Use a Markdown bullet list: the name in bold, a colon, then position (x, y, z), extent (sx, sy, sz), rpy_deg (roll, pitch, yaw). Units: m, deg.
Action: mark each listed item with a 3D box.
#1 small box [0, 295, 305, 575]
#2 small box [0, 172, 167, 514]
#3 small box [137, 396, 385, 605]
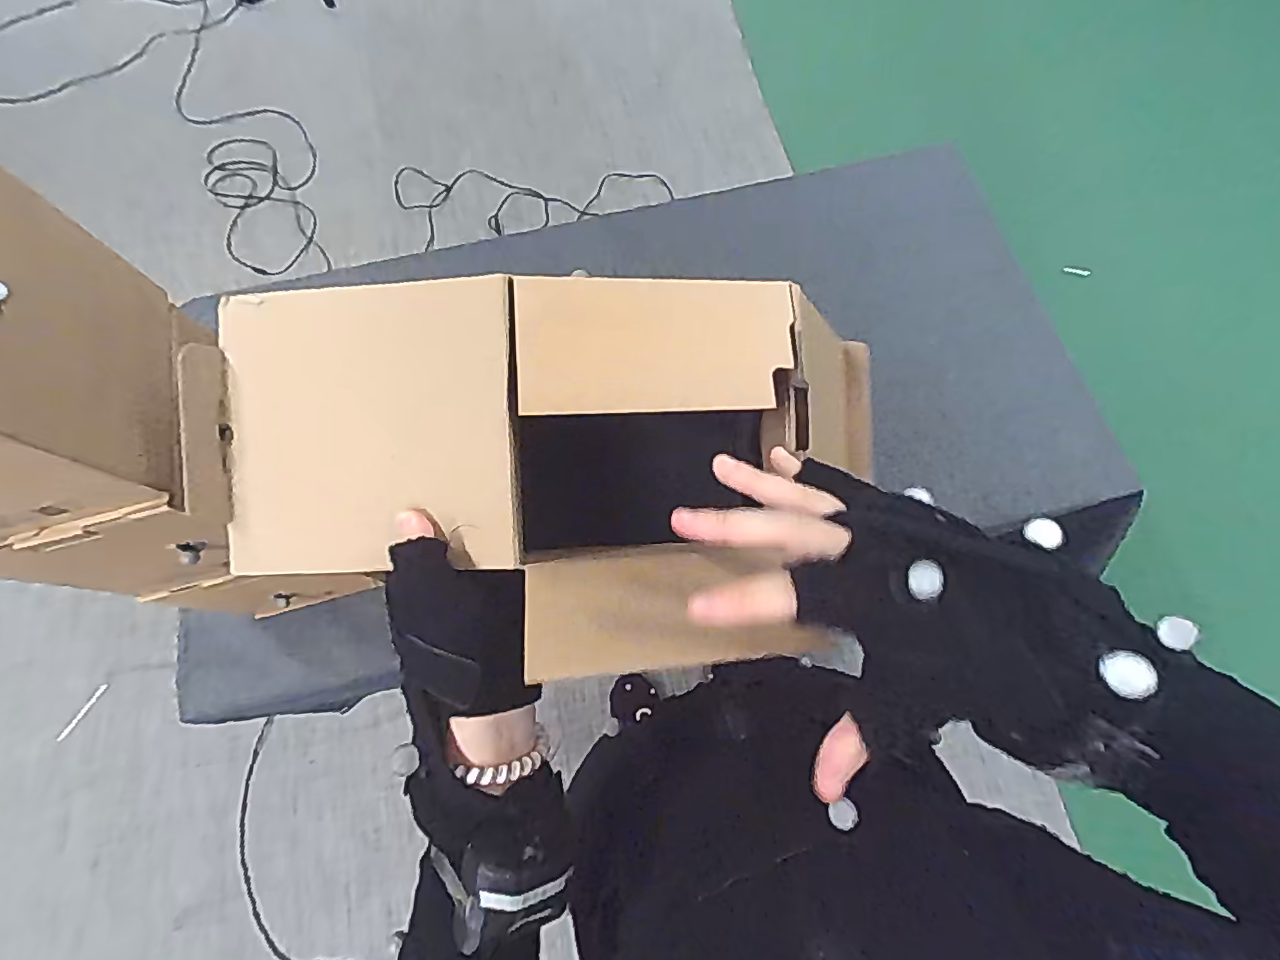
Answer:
- **small box**: position (-0.419, -0.022, 0.467), extent (0.168, 0.176, 0.179), rpy_deg (-14, 72, -4)
- **small box**: position (-0.423, -0.080, 0.314), extent (0.168, 0.176, 0.179), rpy_deg (-15, 72, -5)
- **small box**: position (-0.417, 0.032, 0.620), extent (0.168, 0.176, 0.179), rpy_deg (-15, 72, -4)
